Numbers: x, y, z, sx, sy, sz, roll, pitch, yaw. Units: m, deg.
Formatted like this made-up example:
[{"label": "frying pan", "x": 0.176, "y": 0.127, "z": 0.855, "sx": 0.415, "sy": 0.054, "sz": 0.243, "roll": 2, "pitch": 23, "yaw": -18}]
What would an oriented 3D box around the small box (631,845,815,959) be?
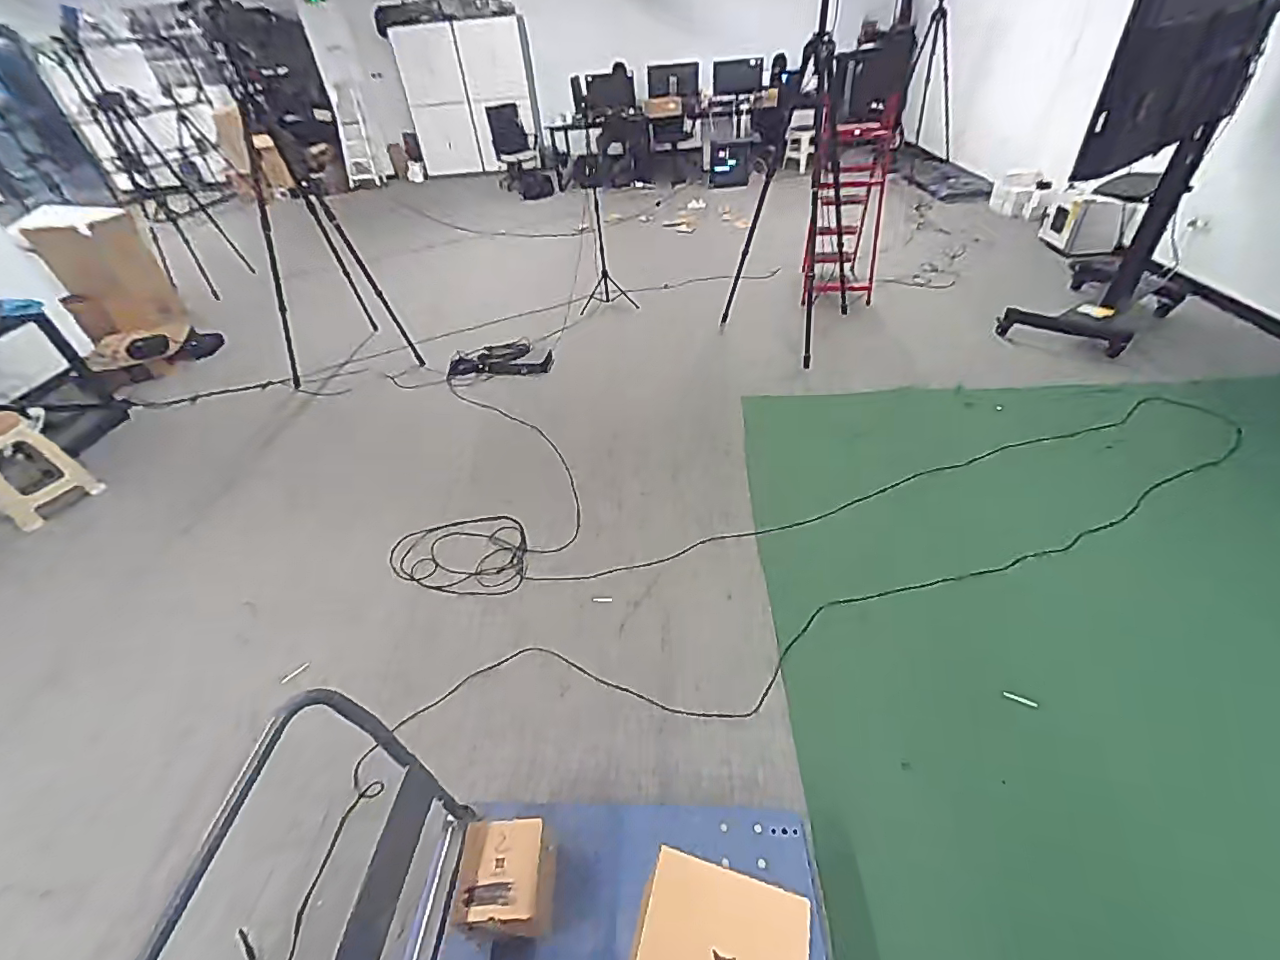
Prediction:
[{"label": "small box", "x": 0.072, "y": 0.529, "z": 0.560, "sx": 0.168, "sy": 0.176, "sz": 0.179, "roll": 14, "pitch": 40, "yaw": 9}]
